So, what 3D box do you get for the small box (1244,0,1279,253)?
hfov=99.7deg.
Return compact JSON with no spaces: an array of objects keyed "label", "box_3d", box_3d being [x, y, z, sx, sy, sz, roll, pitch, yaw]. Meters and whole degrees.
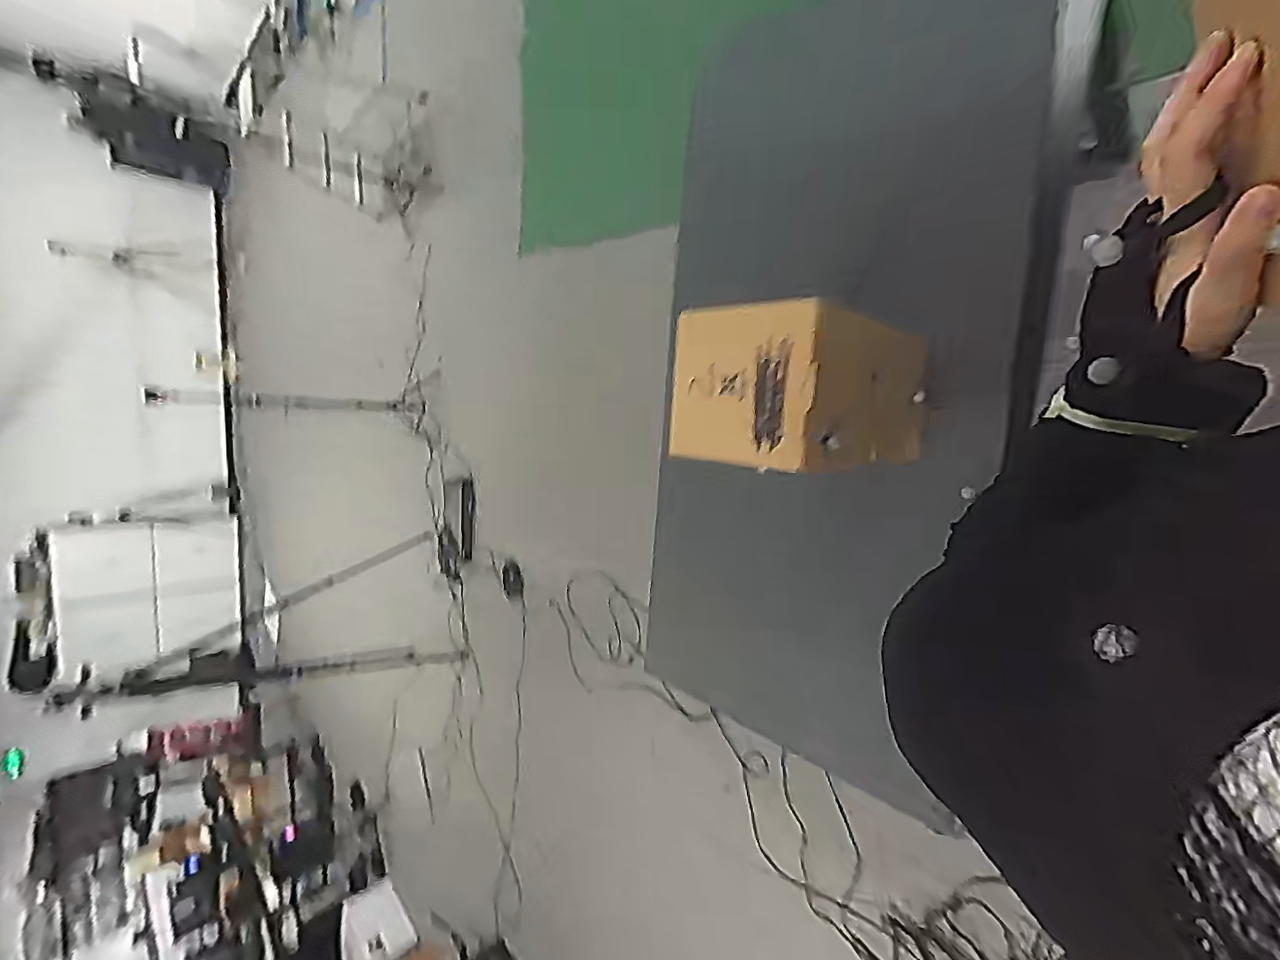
[{"label":"small box","box_3d":[0.340,-0.176,0.172,0.168,0.176,0.179,-9,109,36]}]
